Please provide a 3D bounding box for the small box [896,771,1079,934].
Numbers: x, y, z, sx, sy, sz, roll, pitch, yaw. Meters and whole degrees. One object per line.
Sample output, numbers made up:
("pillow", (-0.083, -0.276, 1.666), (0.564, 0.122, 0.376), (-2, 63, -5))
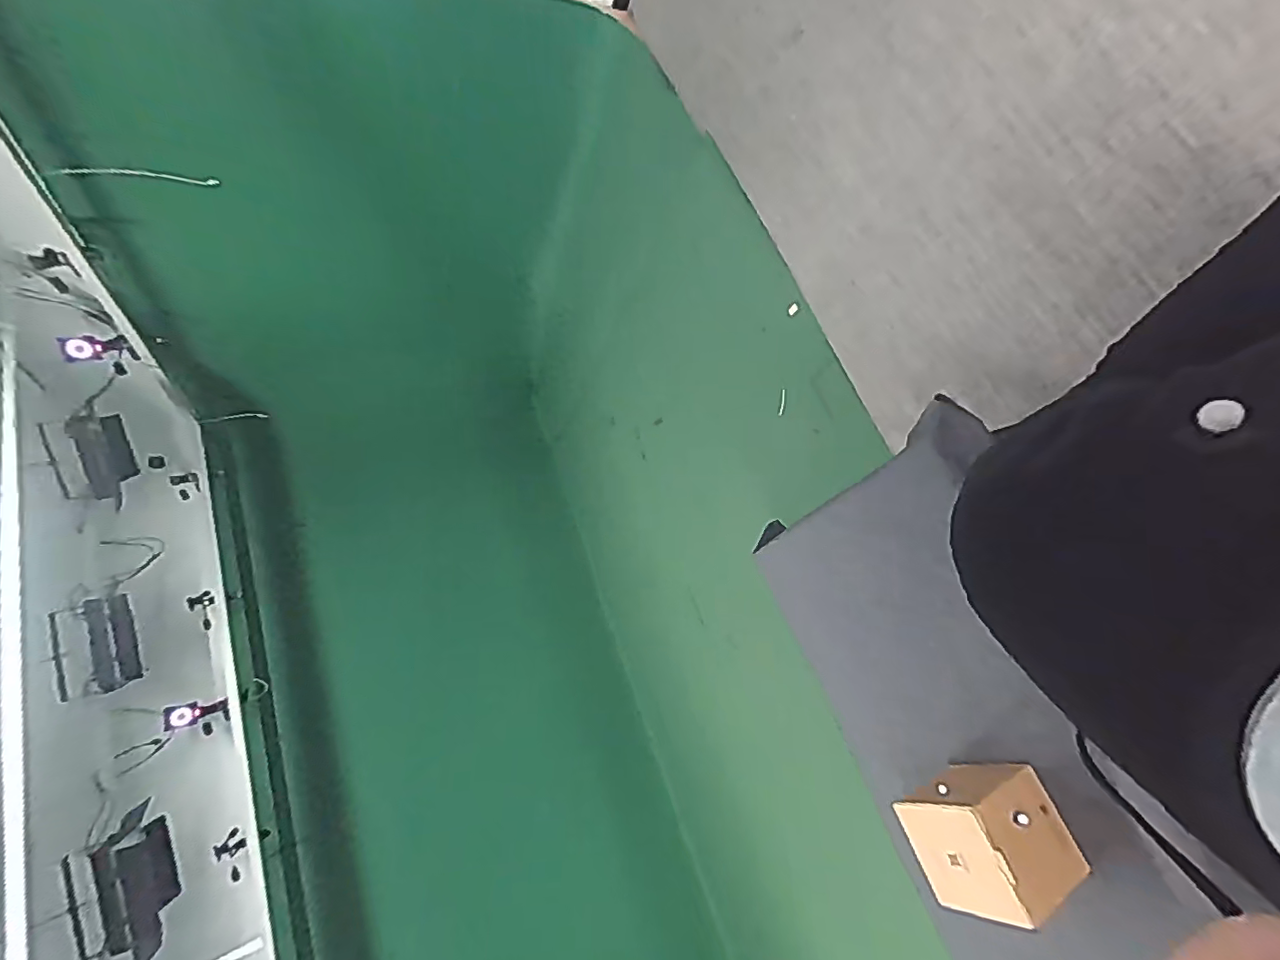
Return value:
("small box", (0.587, 0.610, 0.913), (0.168, 0.176, 0.179), (68, 153, 20))
